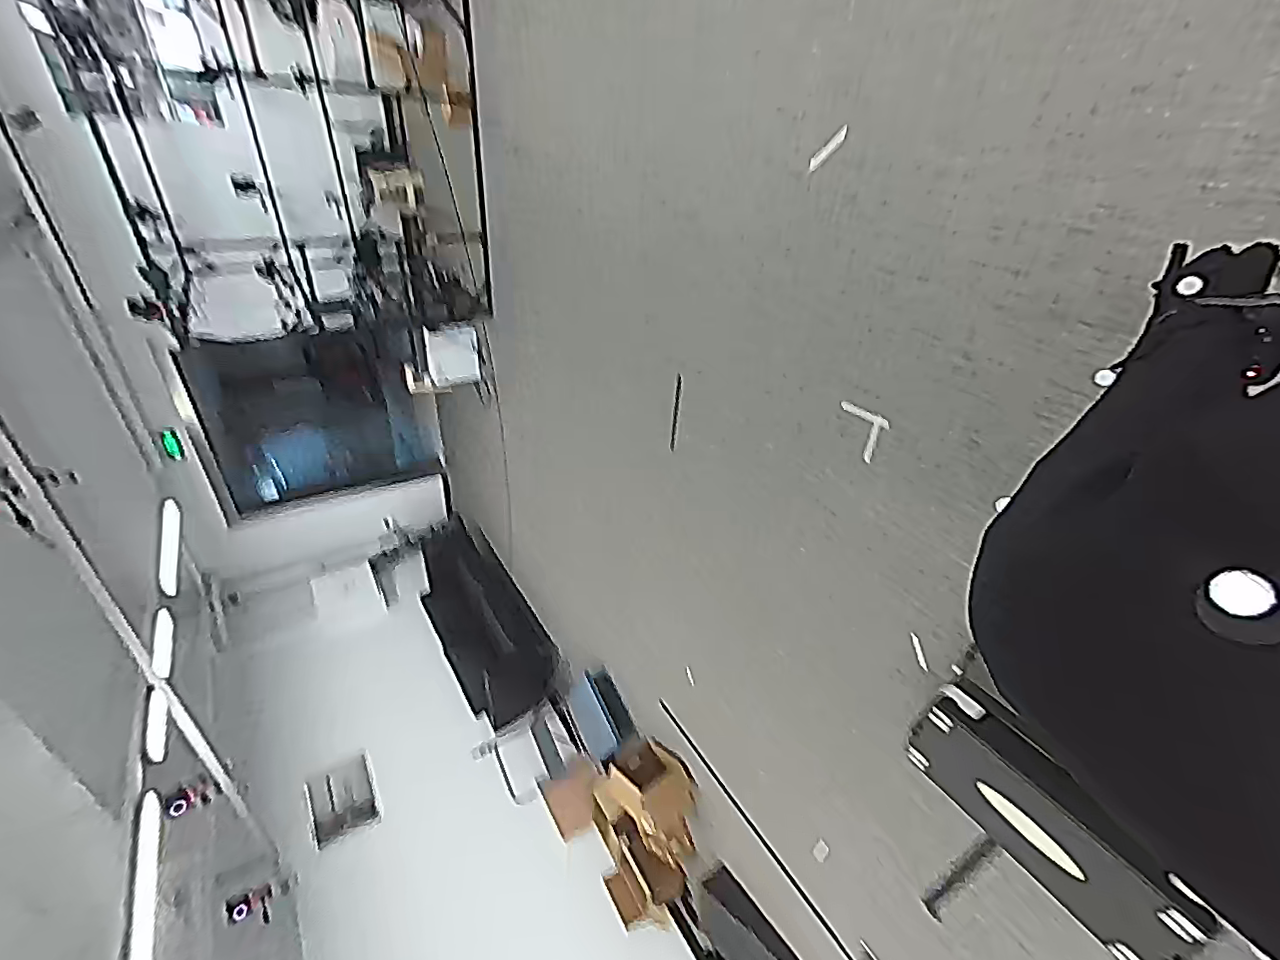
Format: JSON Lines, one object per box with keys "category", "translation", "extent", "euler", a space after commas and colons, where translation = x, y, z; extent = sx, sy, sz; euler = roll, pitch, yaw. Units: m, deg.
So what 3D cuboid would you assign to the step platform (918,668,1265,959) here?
{"category": "step platform", "translation": [1.100, 0.844, 1.413], "extent": [0.684, 0.204, 0.286], "euler": [43, 138, 44]}
